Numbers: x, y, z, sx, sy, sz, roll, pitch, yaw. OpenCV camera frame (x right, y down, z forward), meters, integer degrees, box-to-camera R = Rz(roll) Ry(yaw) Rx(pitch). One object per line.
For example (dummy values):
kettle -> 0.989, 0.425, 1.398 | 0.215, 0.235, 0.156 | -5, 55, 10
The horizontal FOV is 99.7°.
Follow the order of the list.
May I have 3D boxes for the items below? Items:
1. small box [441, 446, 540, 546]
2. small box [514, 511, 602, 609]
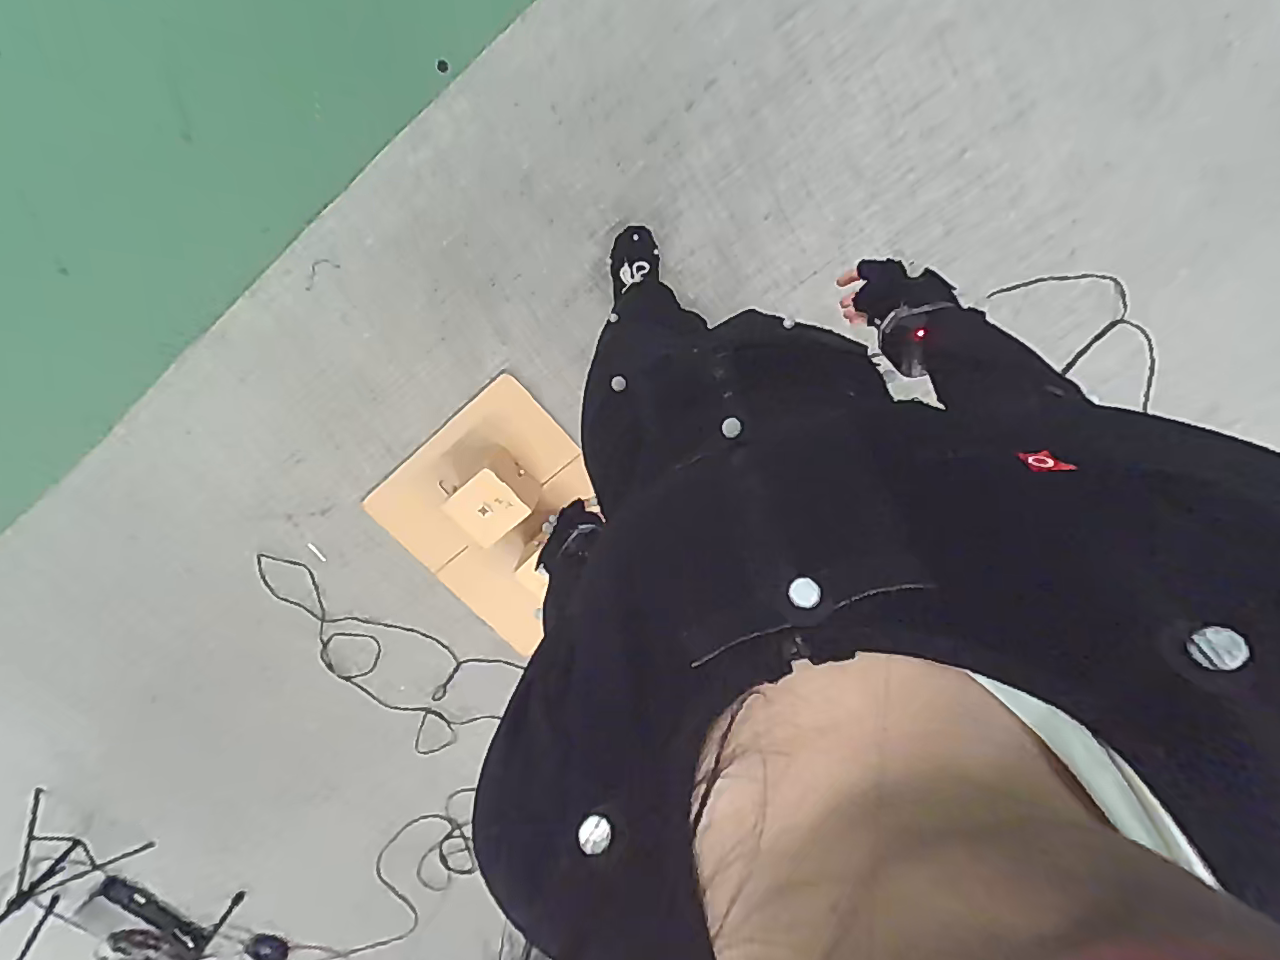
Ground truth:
small box -> -0.390, 0.038, 1.448 | 0.179, 0.176, 0.168 | -38, 107, 13
small box -> -0.221, 0.215, 1.510 | 0.179, 0.176, 0.168 | -42, 105, 15
